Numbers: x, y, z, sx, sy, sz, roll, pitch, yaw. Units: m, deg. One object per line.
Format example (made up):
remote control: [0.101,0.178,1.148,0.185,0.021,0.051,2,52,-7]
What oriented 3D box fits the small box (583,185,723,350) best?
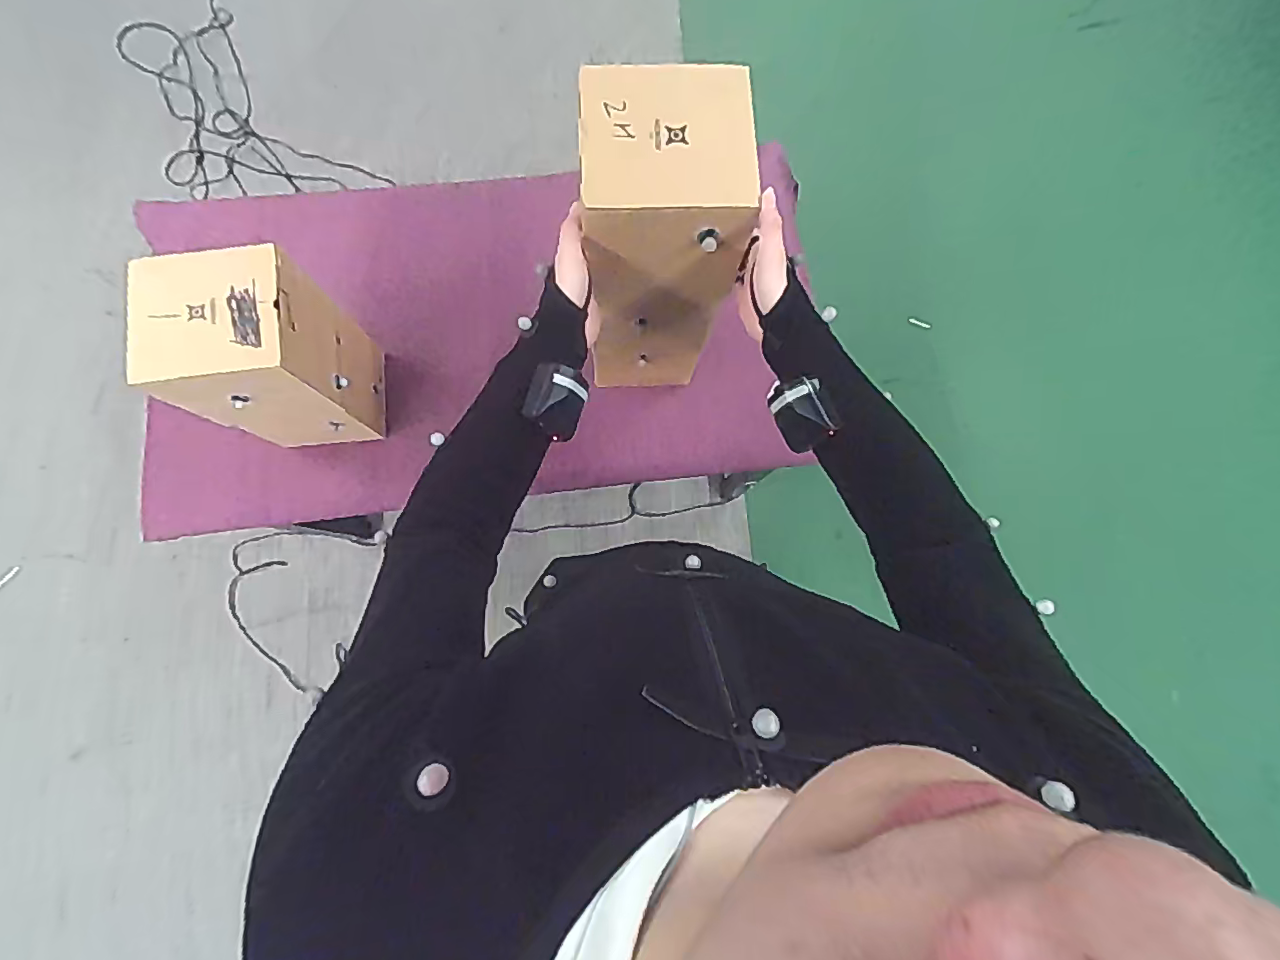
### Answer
small box: [0.015,-0.293,0.766,0.179,0.176,0.168,-2,80,-2]

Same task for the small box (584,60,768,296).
small box: [0.030,-0.322,0.604,0.179,0.176,0.168,-2,79,-2]

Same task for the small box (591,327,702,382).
small box: [0.005,-0.275,0.929,0.179,0.176,0.168,-2,80,-3]

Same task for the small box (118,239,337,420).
small box: [-0.521,-0.187,0.709,0.179,0.176,0.168,-9,80,-5]
